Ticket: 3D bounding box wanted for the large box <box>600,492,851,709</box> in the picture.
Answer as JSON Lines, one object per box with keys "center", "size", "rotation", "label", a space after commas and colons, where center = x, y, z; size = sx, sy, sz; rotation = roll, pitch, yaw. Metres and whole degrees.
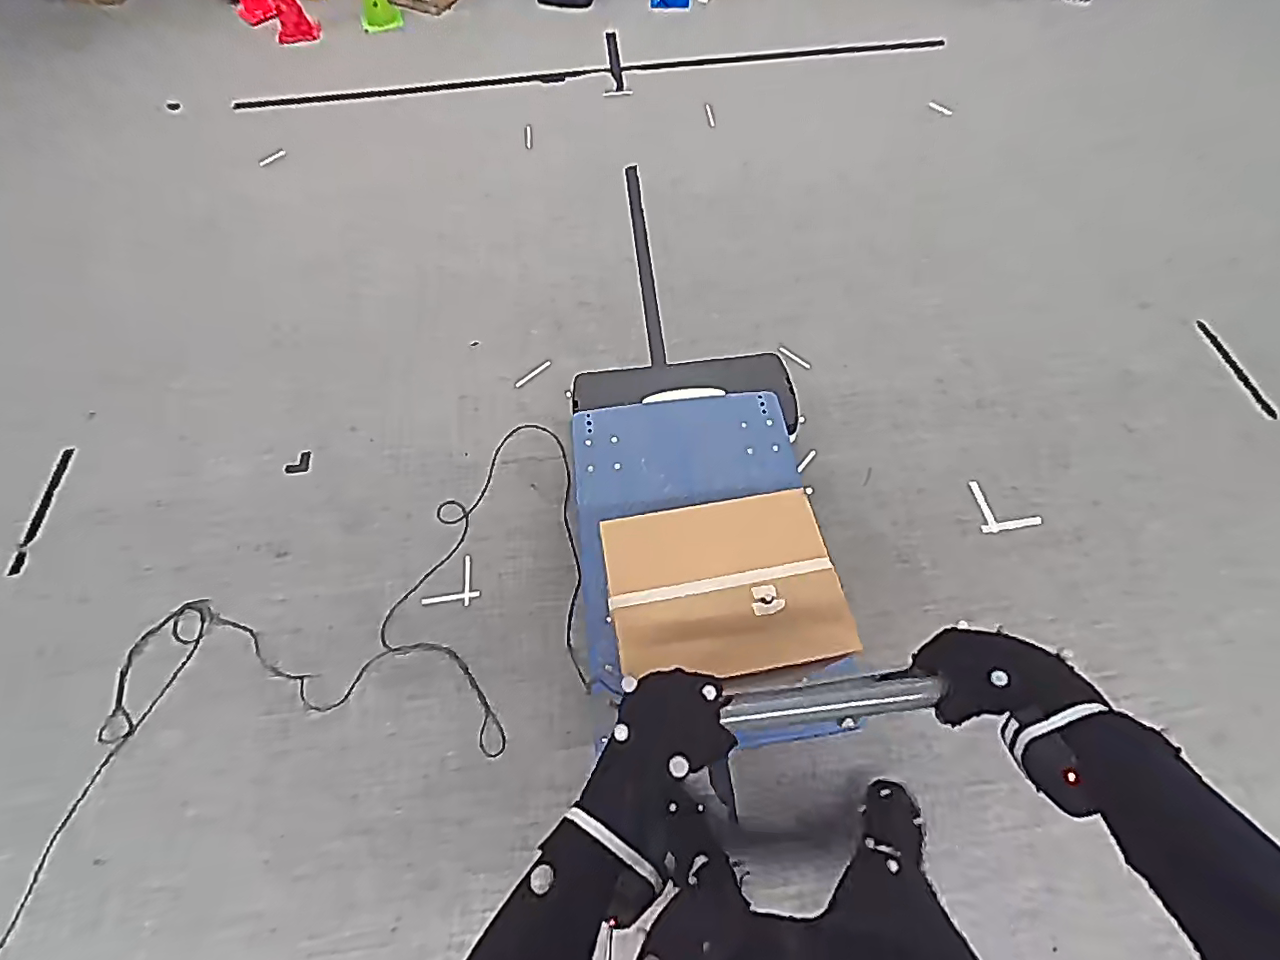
{"center": [0.144, 0.259, 1.117], "size": [0.408, 0.320, 0.320], "rotation": [-9, 64, -5], "label": "large box"}
